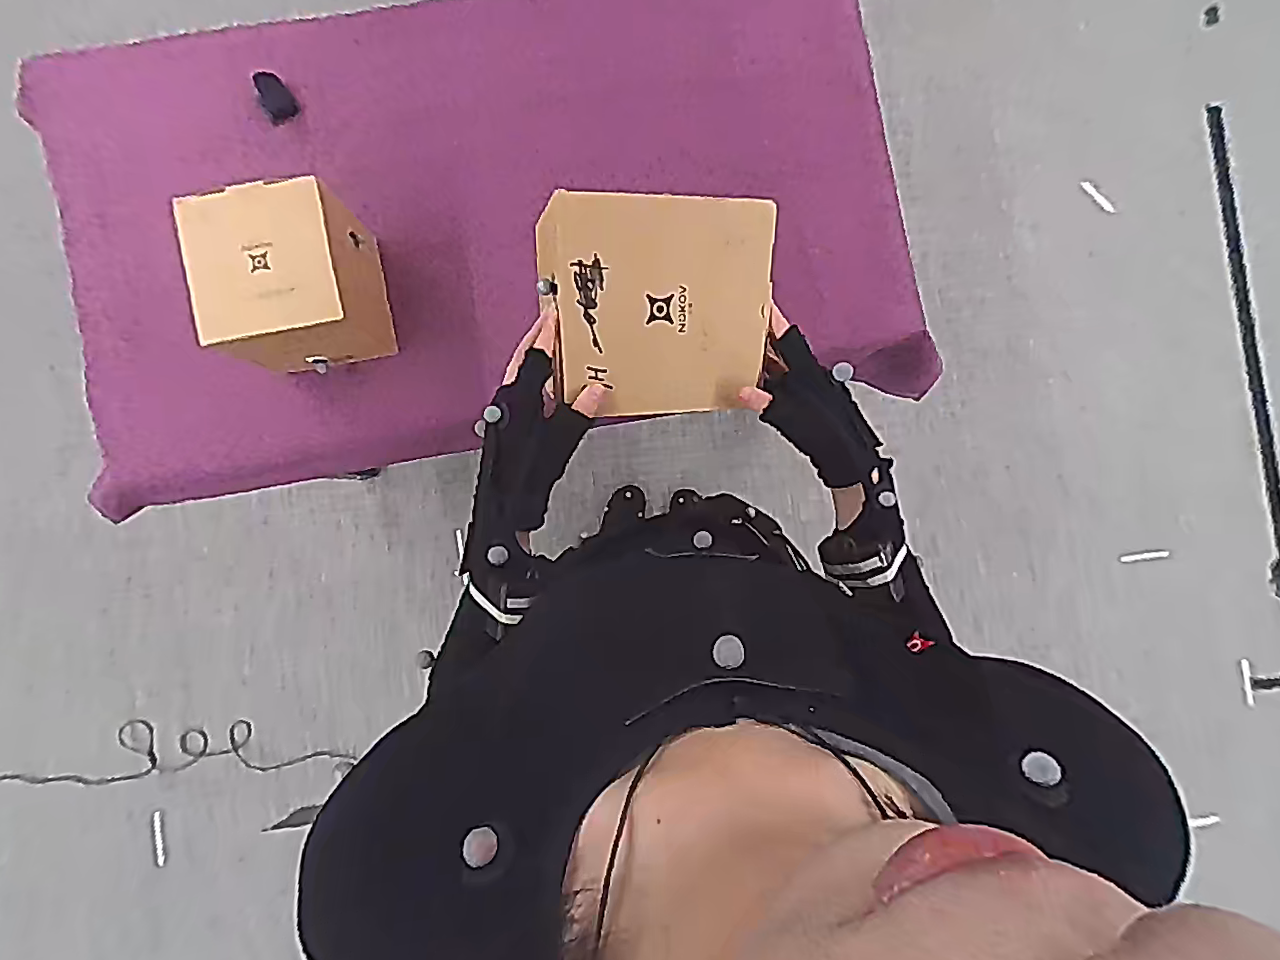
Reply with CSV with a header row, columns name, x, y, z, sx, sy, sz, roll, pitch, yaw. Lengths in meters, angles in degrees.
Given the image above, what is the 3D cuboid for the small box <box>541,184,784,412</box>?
name,x,y,z,sx,sy,sz,roll,pitch,yaw
small box,0.008,-0.158,0.499,0.179,0.176,0.168,-4,106,-15

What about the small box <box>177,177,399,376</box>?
name,x,y,z,sx,sy,sz,roll,pitch,yaw
small box,-0.438,-0.251,0.701,0.168,0.176,0.179,-12,89,-3
